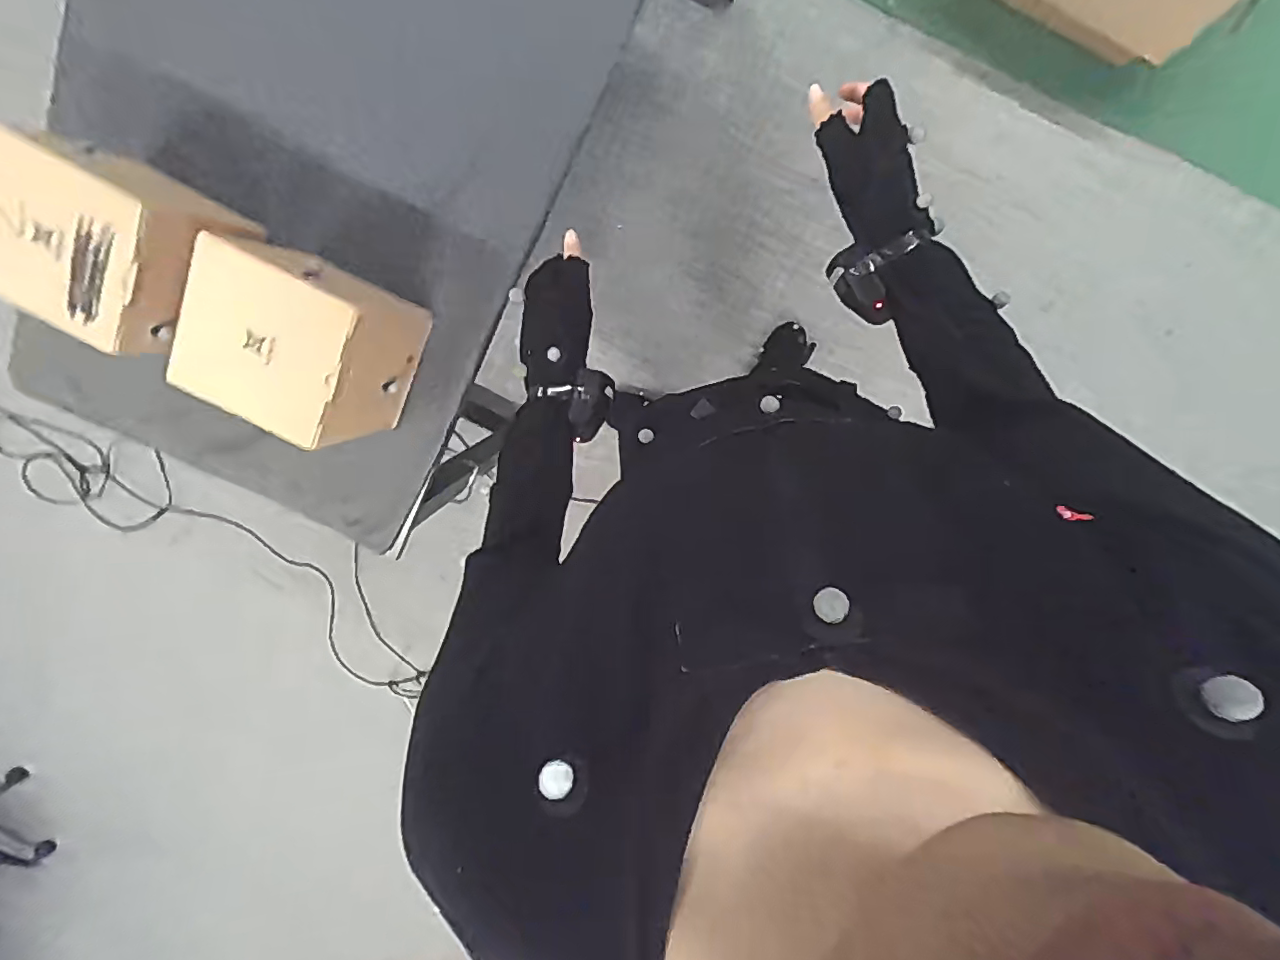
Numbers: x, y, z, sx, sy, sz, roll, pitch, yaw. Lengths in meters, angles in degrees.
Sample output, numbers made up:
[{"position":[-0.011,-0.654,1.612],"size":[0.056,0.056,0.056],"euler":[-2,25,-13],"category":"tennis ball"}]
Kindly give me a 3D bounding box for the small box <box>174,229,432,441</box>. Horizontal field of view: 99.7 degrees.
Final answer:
[{"position":[-0.386,-0.166,0.644],"size":[0.179,0.176,0.168],"euler":[26,105,-1],"category":"small box"}]
